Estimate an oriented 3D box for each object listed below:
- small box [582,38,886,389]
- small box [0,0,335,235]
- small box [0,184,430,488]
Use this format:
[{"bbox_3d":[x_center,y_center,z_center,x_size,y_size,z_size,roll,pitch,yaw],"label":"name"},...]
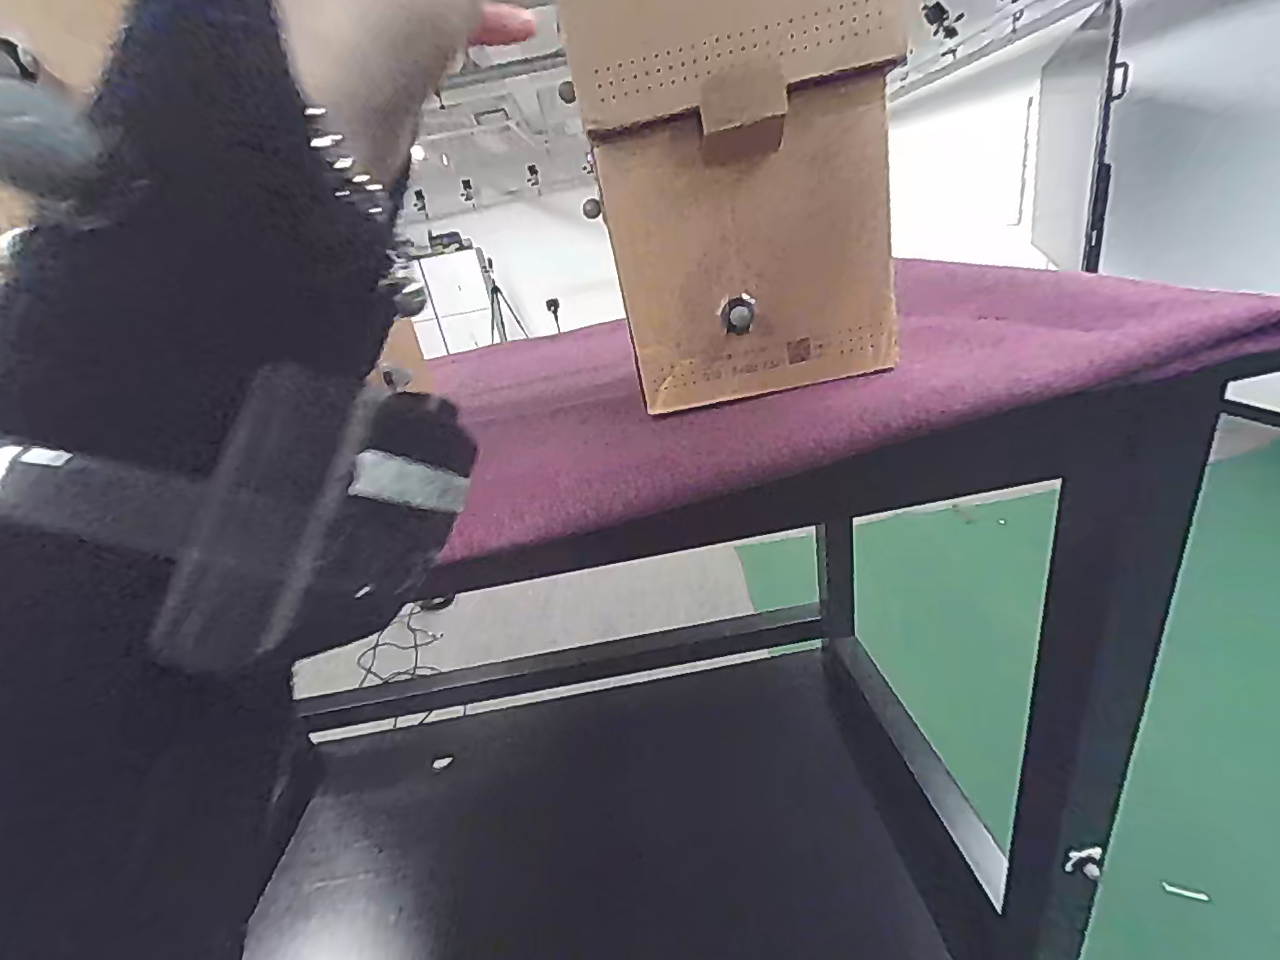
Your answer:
[{"bbox_3d":[0.063,-0.174,0.396,0.168,0.176,0.179,-11,23,4],"label":"small box"},{"bbox_3d":[-0.326,-0.248,0.336,0.168,0.176,0.179,-13,24,-3],"label":"small box"},{"bbox_3d":[-0.291,-0.106,0.411,0.179,0.176,0.168,-10,23,2],"label":"small box"}]
